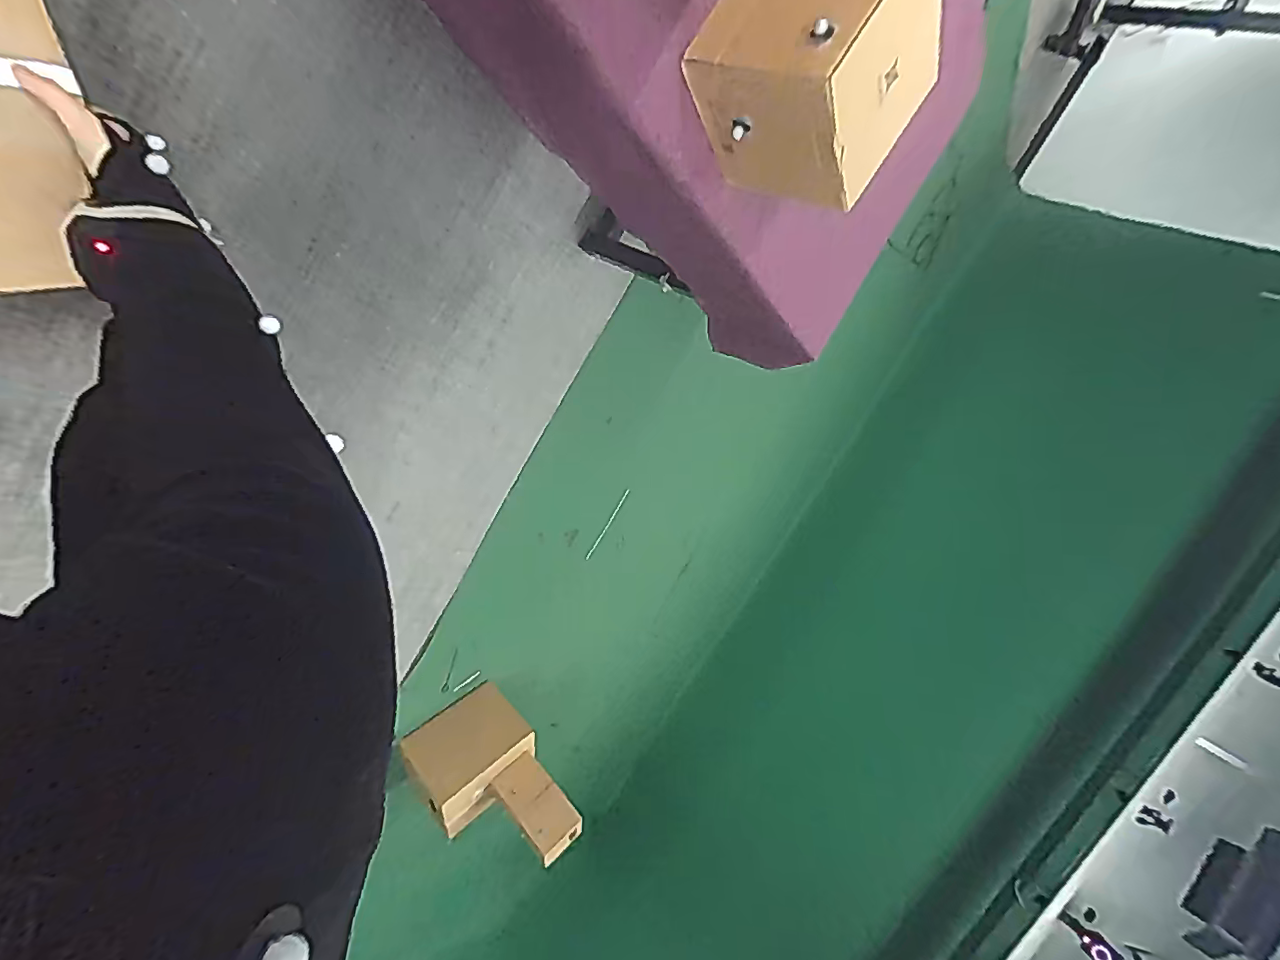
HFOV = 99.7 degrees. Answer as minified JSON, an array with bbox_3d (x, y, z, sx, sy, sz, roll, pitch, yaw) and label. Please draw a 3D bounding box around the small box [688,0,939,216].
[{"bbox_3d":[0.179,-0.419,0.557,0.179,0.176,0.168,-56,150,2],"label":"small box"}]
